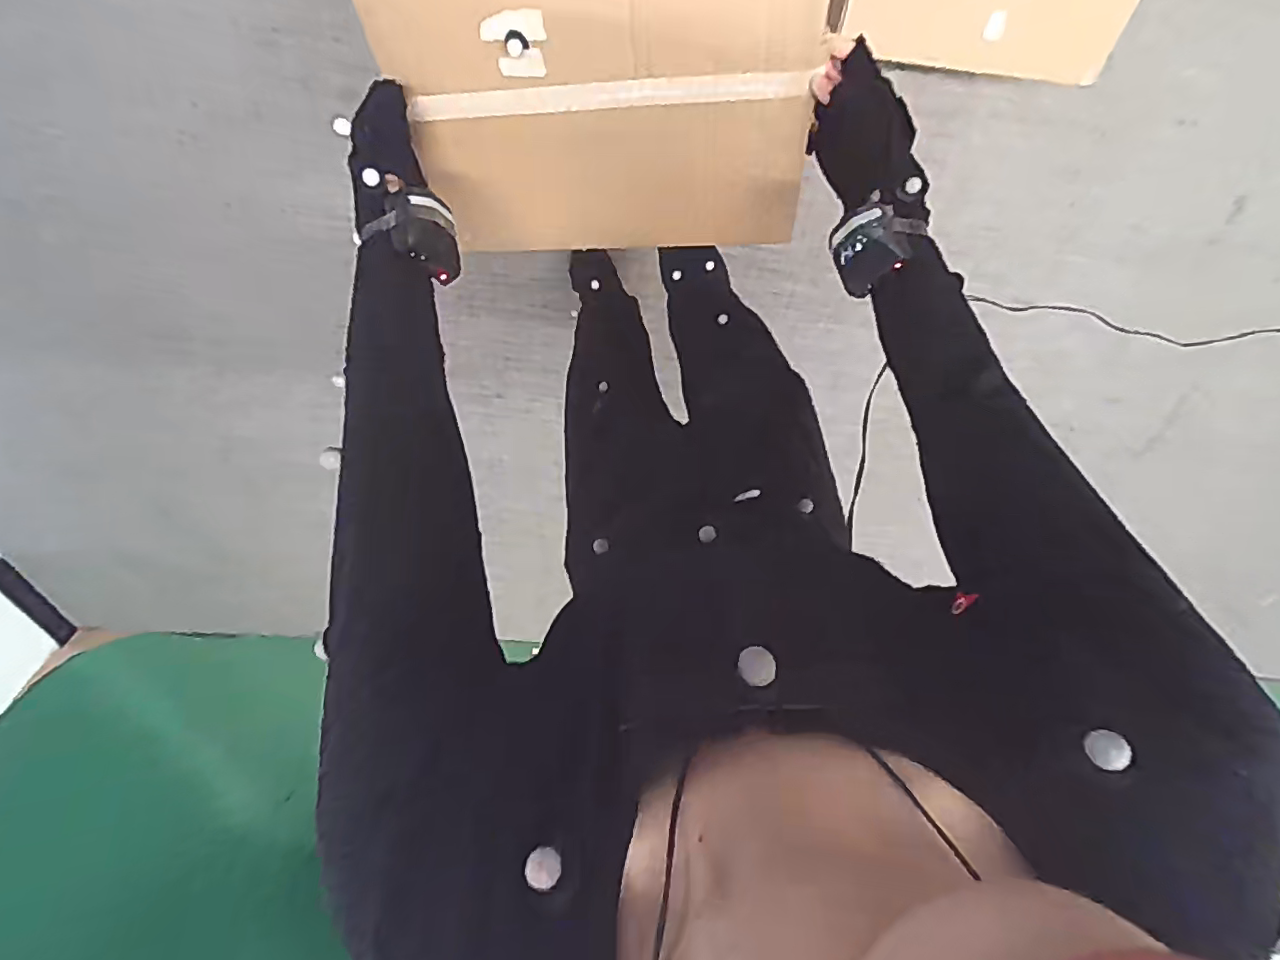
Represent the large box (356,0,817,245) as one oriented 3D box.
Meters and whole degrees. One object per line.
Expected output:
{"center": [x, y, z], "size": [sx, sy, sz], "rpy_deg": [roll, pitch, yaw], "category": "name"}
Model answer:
{"center": [-0.031, -0.492, 0.593], "size": [0.408, 0.320, 0.320], "rpy_deg": [2, 144, 7], "category": "large box"}
